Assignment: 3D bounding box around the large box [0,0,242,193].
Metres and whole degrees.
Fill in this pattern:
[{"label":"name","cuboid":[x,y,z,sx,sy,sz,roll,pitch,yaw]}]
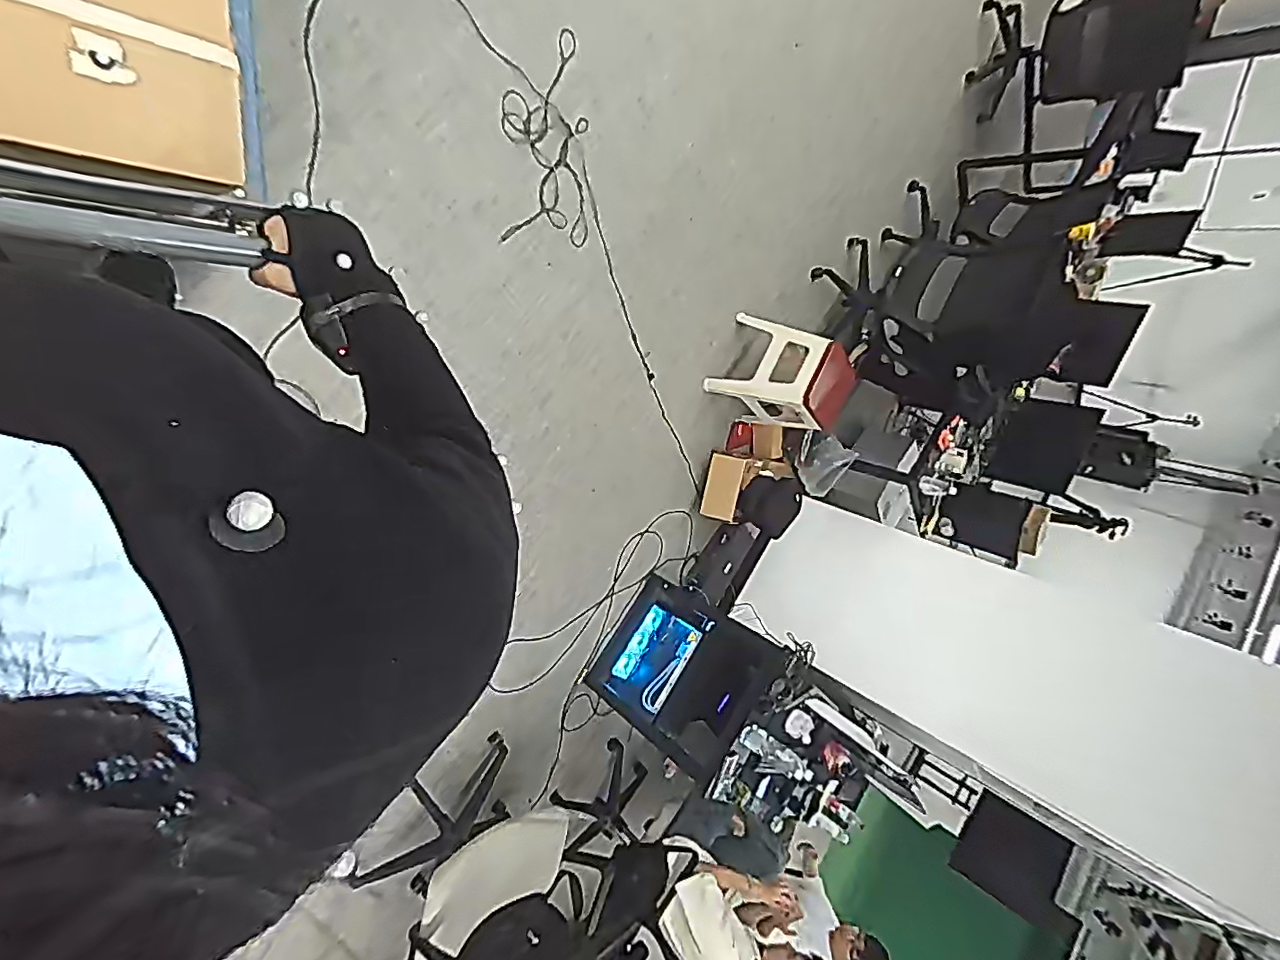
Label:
[{"label":"large box","cuboid":[-0.806,-0.588,0.696,0.408,0.320,0.320,-11,116,-45]}]
